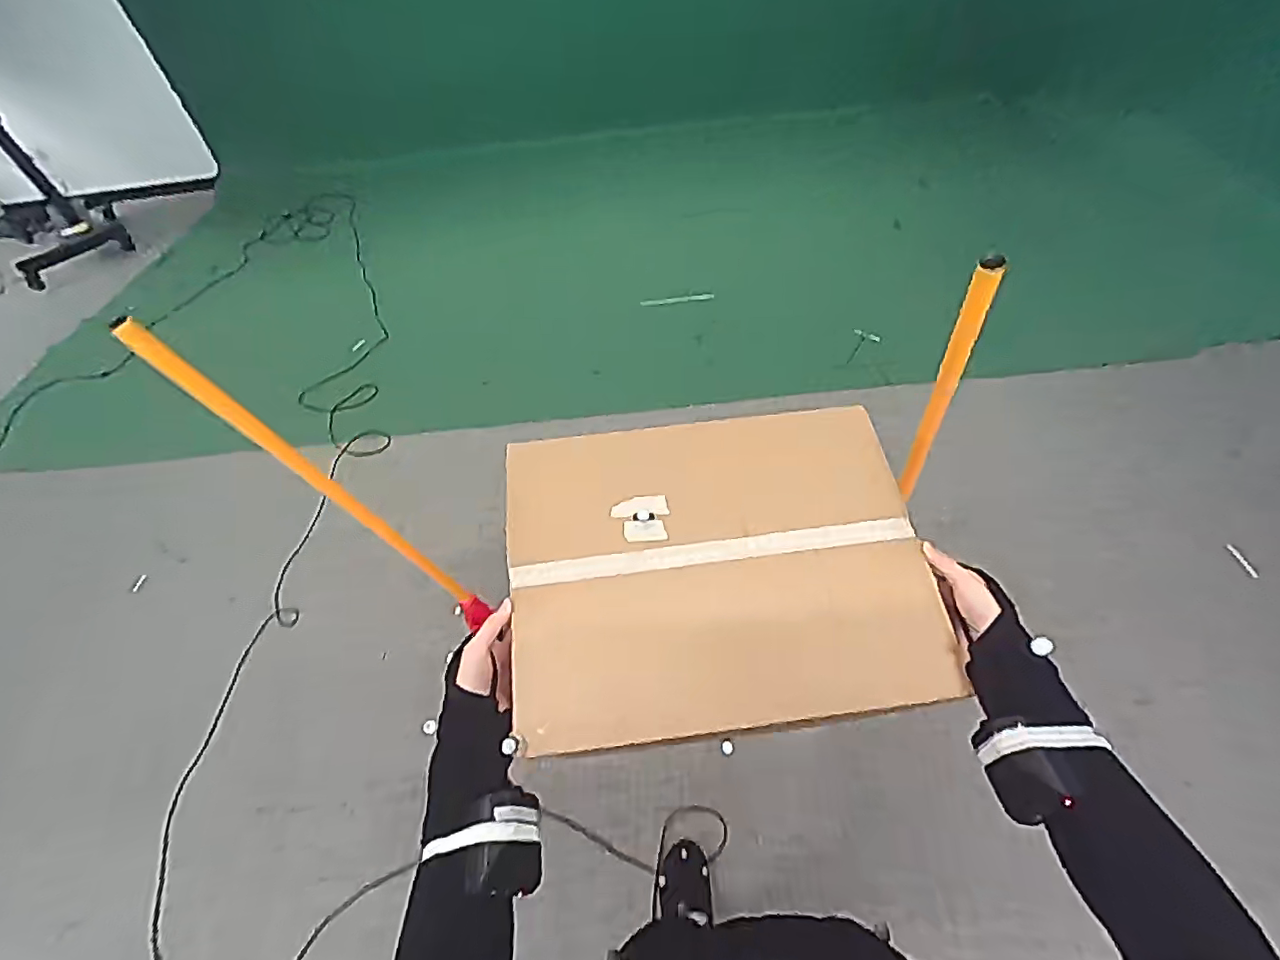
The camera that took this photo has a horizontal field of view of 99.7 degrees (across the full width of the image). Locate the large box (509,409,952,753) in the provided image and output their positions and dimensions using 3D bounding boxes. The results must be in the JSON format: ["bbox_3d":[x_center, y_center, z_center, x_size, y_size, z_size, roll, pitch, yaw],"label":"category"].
[{"bbox_3d":[0.075,0.145,0.681,0.408,0.320,0.320,-7,62,-2],"label":"large box"}]
